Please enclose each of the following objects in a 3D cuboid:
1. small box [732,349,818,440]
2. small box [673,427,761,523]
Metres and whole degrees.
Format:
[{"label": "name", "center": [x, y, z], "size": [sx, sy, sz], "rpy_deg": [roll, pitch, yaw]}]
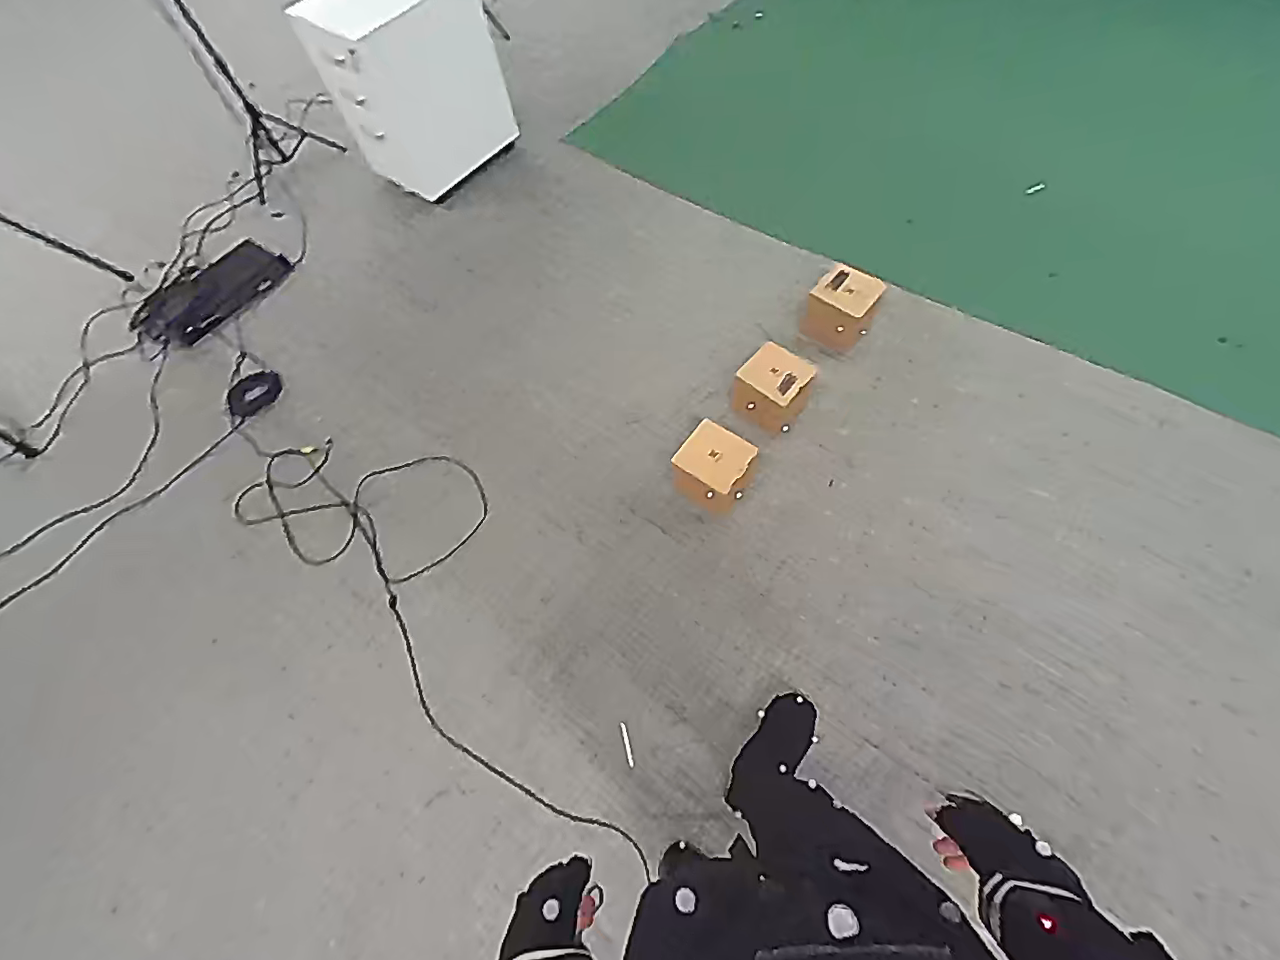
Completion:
[{"label": "small box", "center": [0.391, -0.242, 1.590], "size": [0.179, 0.176, 0.168], "rpy_deg": [38, 72, 23]}, {"label": "small box", "center": [0.207, -0.008, 1.488], "size": [0.179, 0.176, 0.168], "rpy_deg": [32, 70, 19]}]
